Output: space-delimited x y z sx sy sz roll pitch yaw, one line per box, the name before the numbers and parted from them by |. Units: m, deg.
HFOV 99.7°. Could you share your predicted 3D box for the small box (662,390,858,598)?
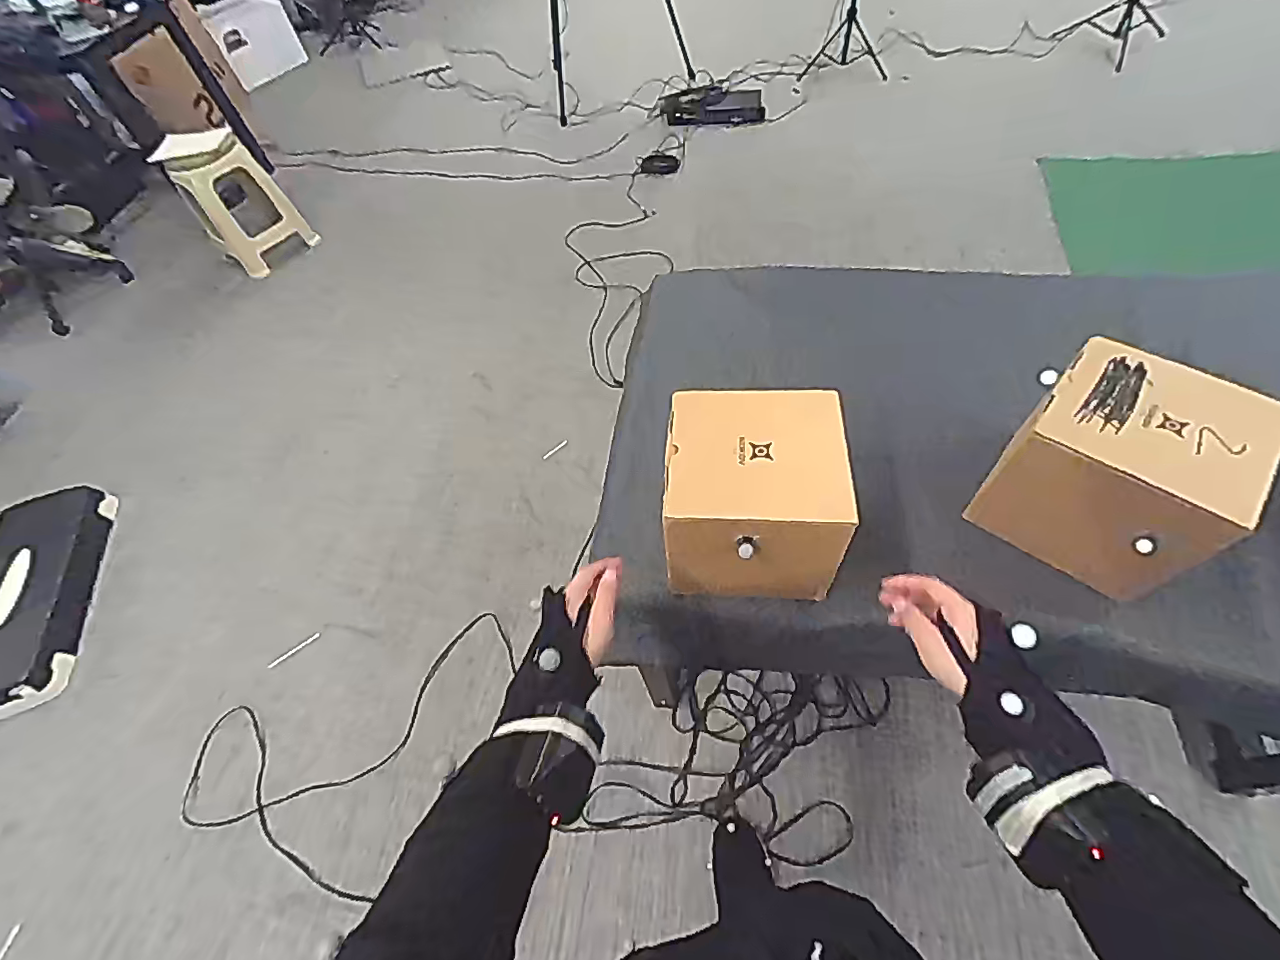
small box | 0.122 0.019 0.595 0.179 0.176 0.168 1 53 9
